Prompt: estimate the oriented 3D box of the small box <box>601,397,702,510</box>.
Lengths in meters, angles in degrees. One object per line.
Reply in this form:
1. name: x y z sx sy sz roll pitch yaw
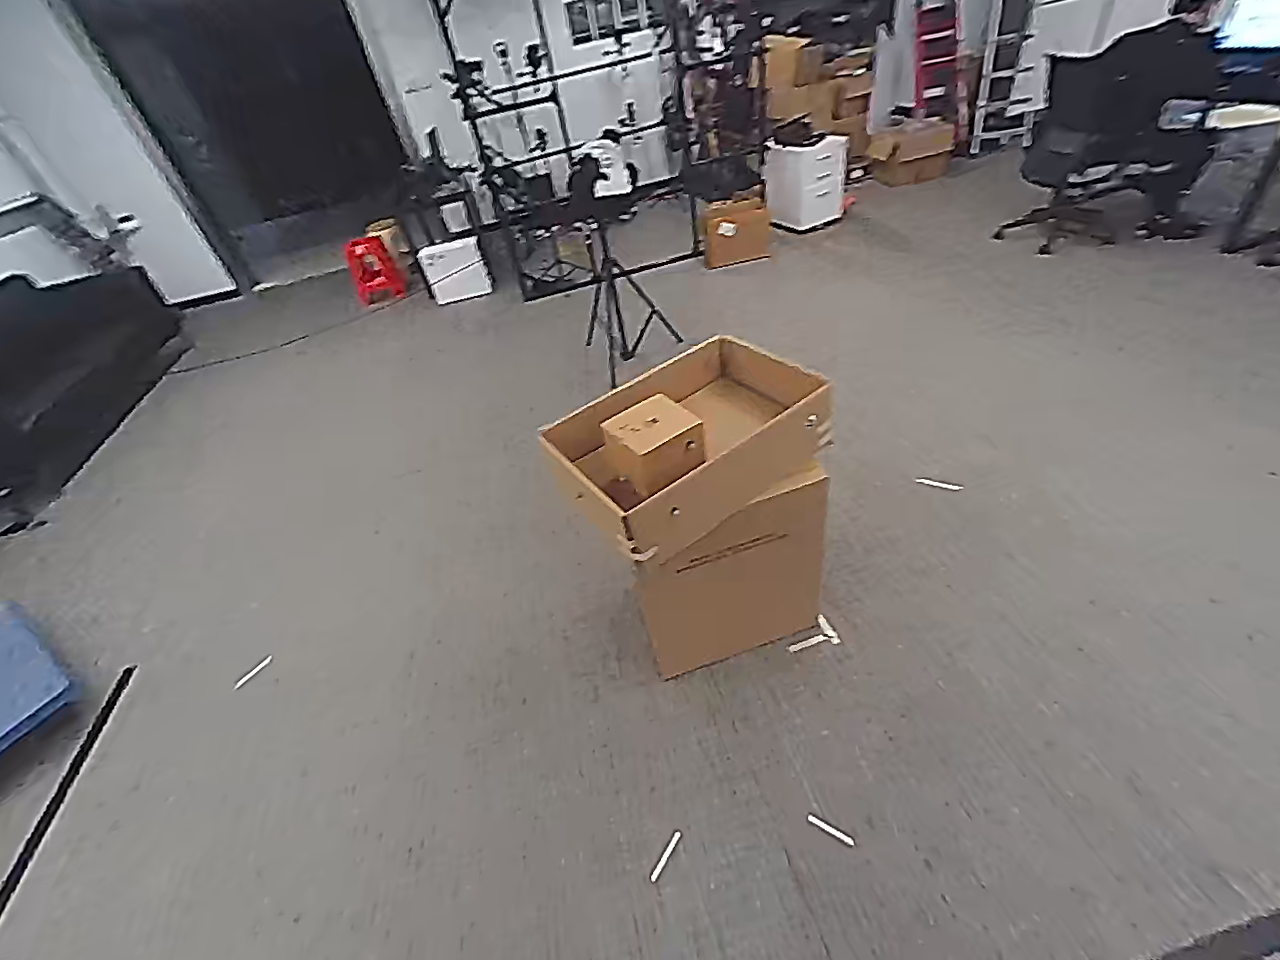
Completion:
1. small box: 0.032 -0.064 1.274 0.179 0.176 0.168 -30 44 -21
